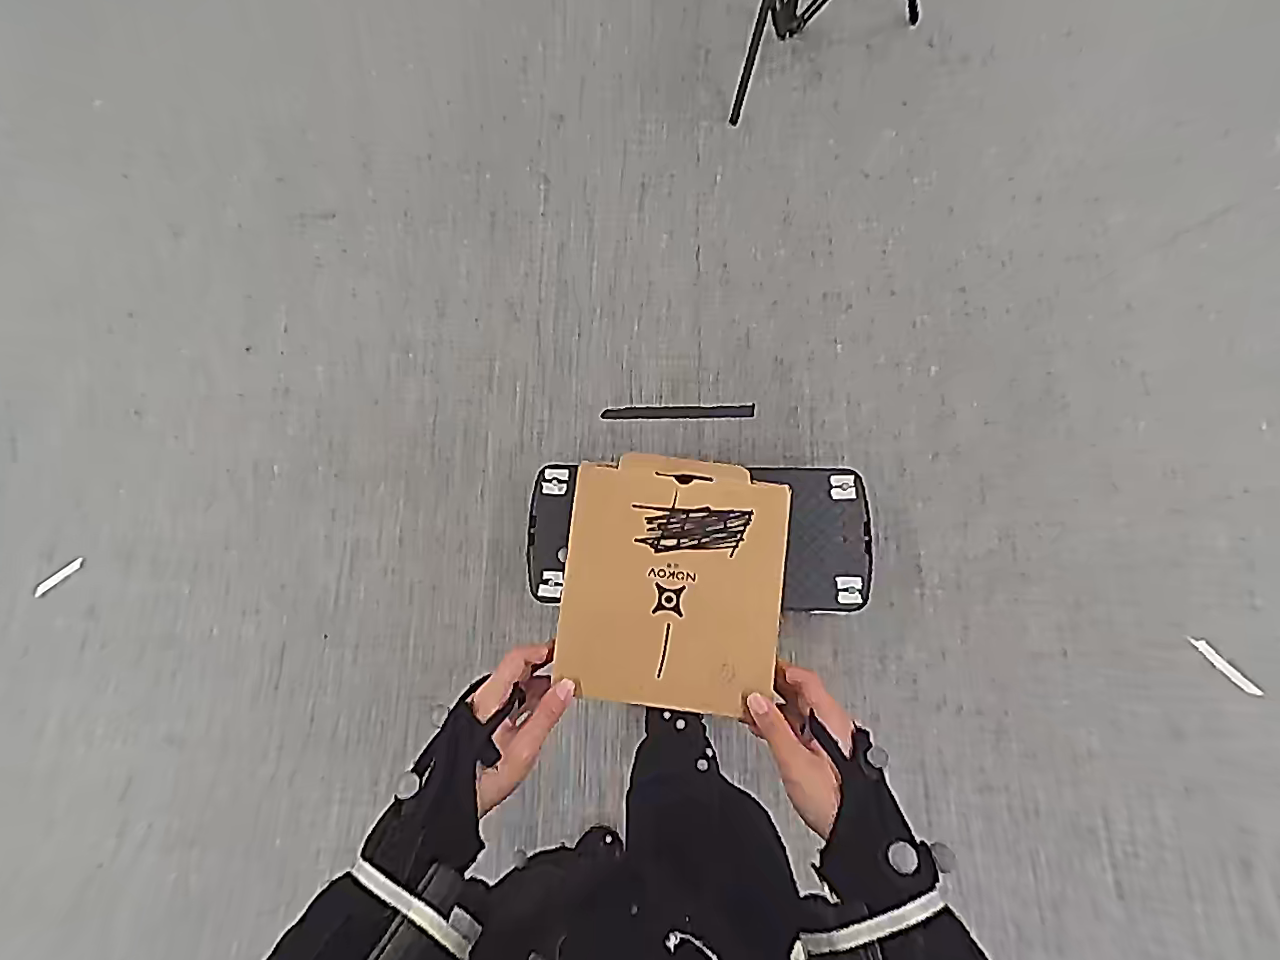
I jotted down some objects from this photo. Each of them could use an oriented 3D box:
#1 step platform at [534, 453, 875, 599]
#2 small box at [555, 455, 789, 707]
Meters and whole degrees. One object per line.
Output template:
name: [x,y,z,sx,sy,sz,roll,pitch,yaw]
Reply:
step platform: [0.125,0.100,1.139,0.684,0.204,0.286,0,78,4]
small box: [0.027,0.086,0.496,0.168,0.176,0.179,7,83,2]
